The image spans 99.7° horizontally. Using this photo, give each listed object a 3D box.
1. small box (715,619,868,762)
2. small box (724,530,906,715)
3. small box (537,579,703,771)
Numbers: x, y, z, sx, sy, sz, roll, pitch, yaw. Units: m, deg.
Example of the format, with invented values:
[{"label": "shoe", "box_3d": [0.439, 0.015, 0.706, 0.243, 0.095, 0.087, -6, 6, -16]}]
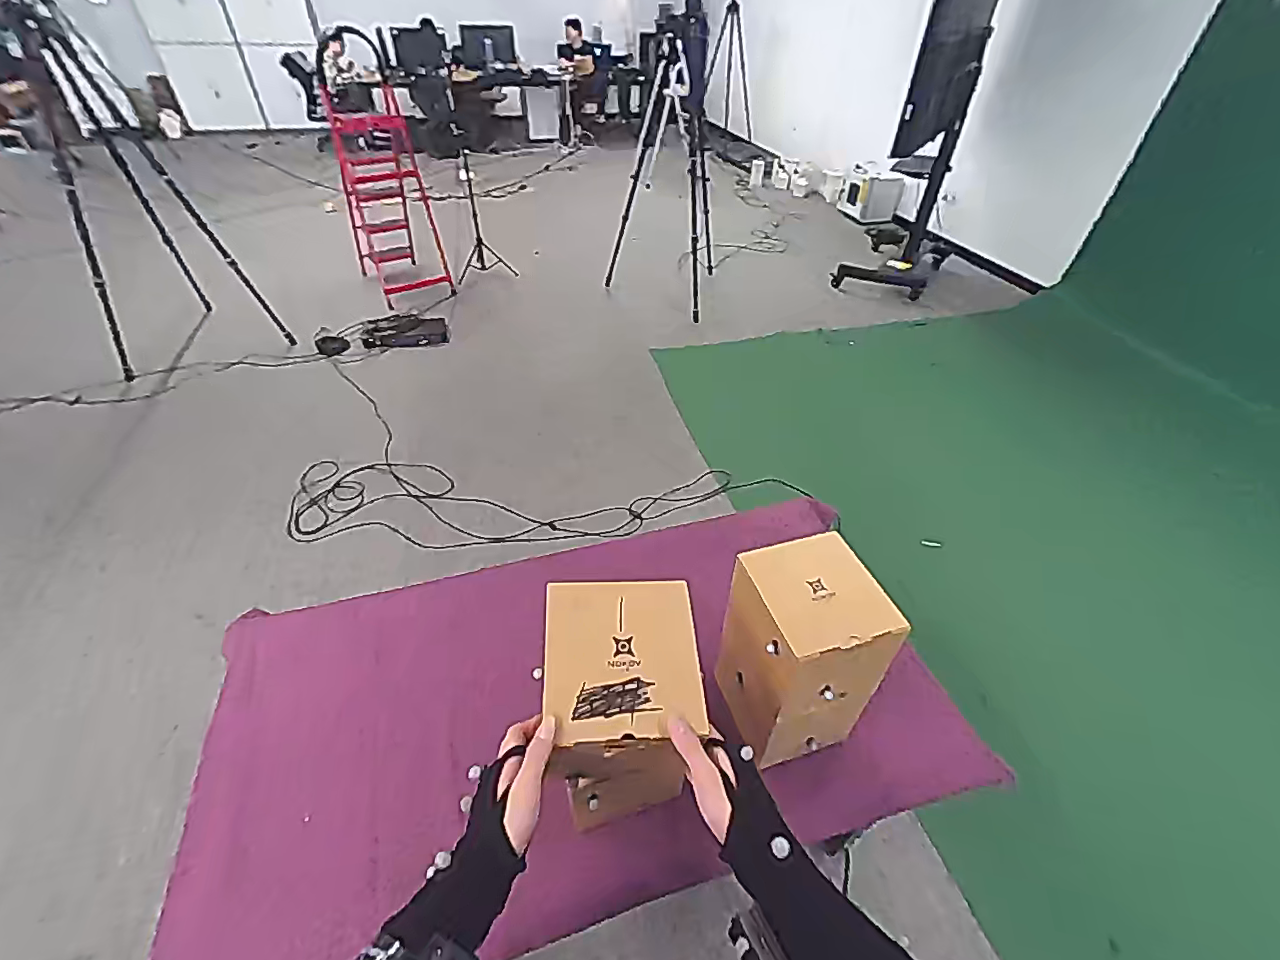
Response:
[{"label": "small box", "box_3d": [0.233, 0.325, 0.888, 0.168, 0.176, 0.179, -12, 44, -13]}, {"label": "small box", "box_3d": [0.234, 0.203, 0.780, 0.168, 0.176, 0.179, -11, 44, -14]}, {"label": "small box", "box_3d": [-0.030, 0.232, 0.635, 0.168, 0.176, 0.179, 1, 51, -8]}]
